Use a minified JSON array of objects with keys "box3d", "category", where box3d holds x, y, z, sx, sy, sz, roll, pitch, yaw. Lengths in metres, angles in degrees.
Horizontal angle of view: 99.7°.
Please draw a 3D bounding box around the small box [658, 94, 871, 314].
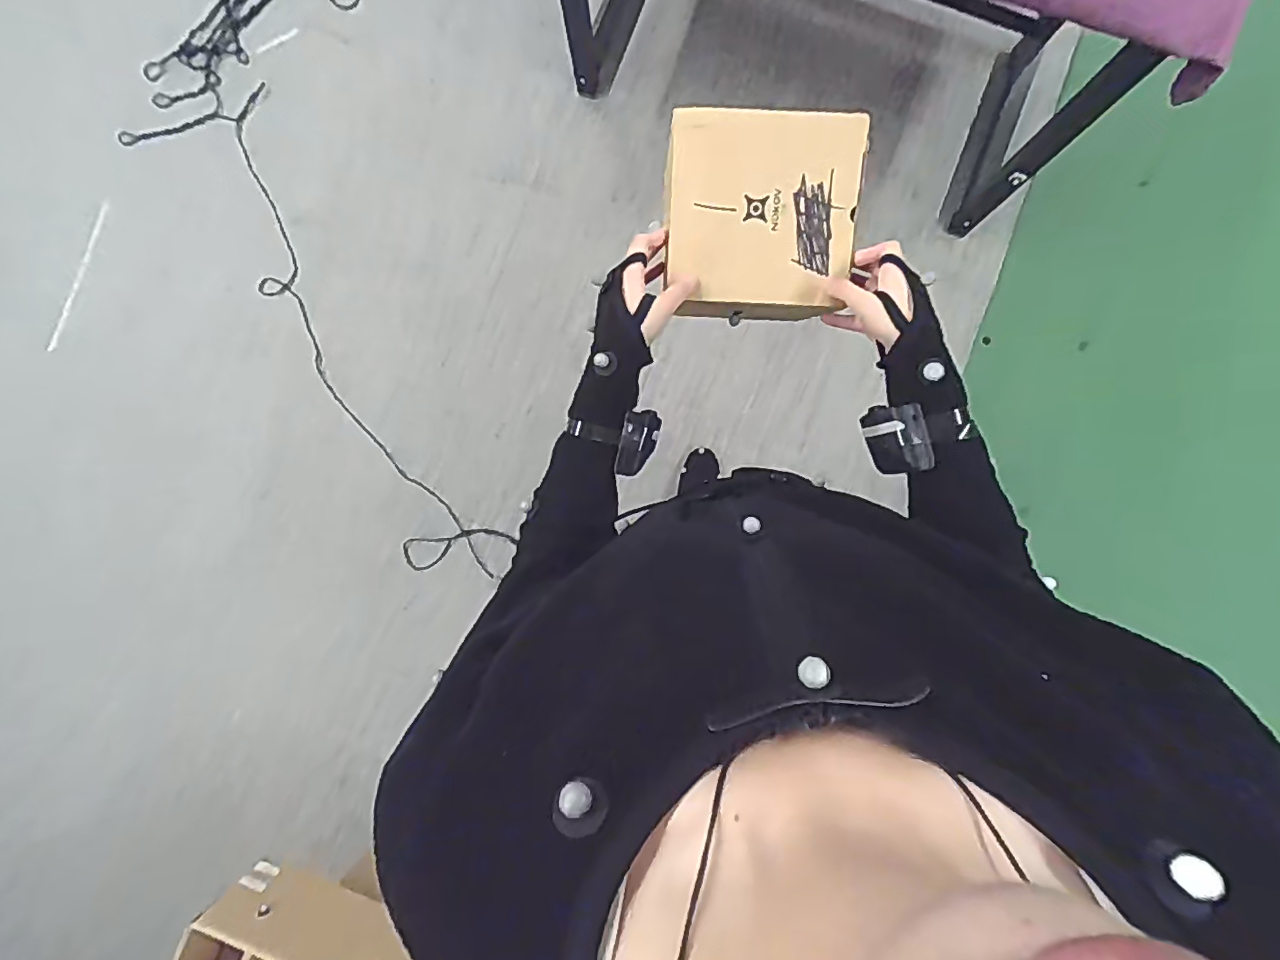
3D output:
[{"box3d":[0.112,-0.269,0.567,0.179,0.176,0.168,3,102,0],"category":"small box"}]
